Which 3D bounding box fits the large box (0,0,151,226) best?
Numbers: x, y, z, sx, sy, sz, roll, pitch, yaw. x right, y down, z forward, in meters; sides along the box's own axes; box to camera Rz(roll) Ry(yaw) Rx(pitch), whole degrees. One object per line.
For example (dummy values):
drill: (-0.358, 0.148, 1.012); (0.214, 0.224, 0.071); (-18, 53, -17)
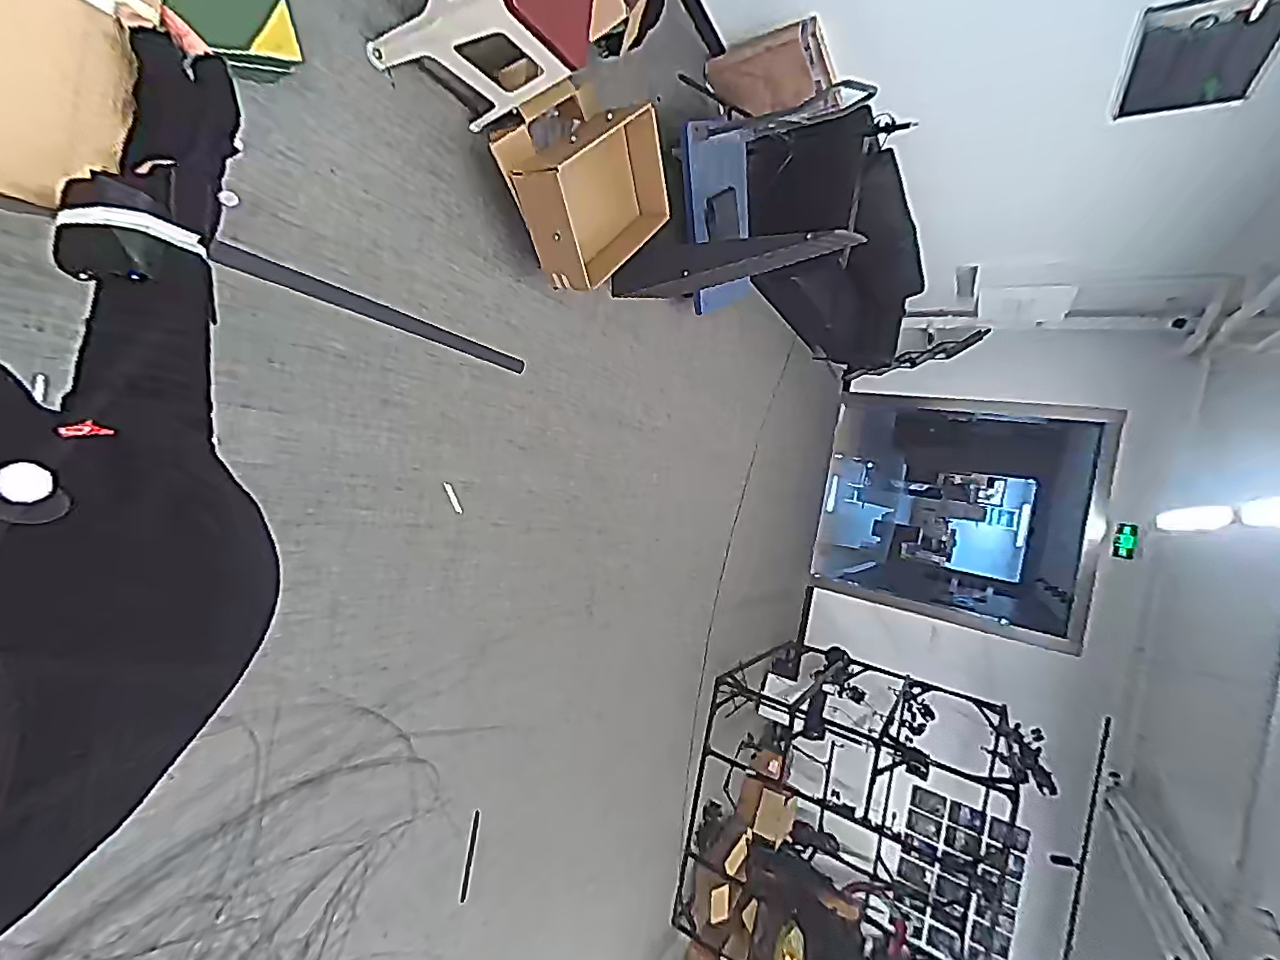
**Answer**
large box: (-0.610, -0.395, 0.319); (0.408, 0.320, 0.320); (2, 106, -62)
